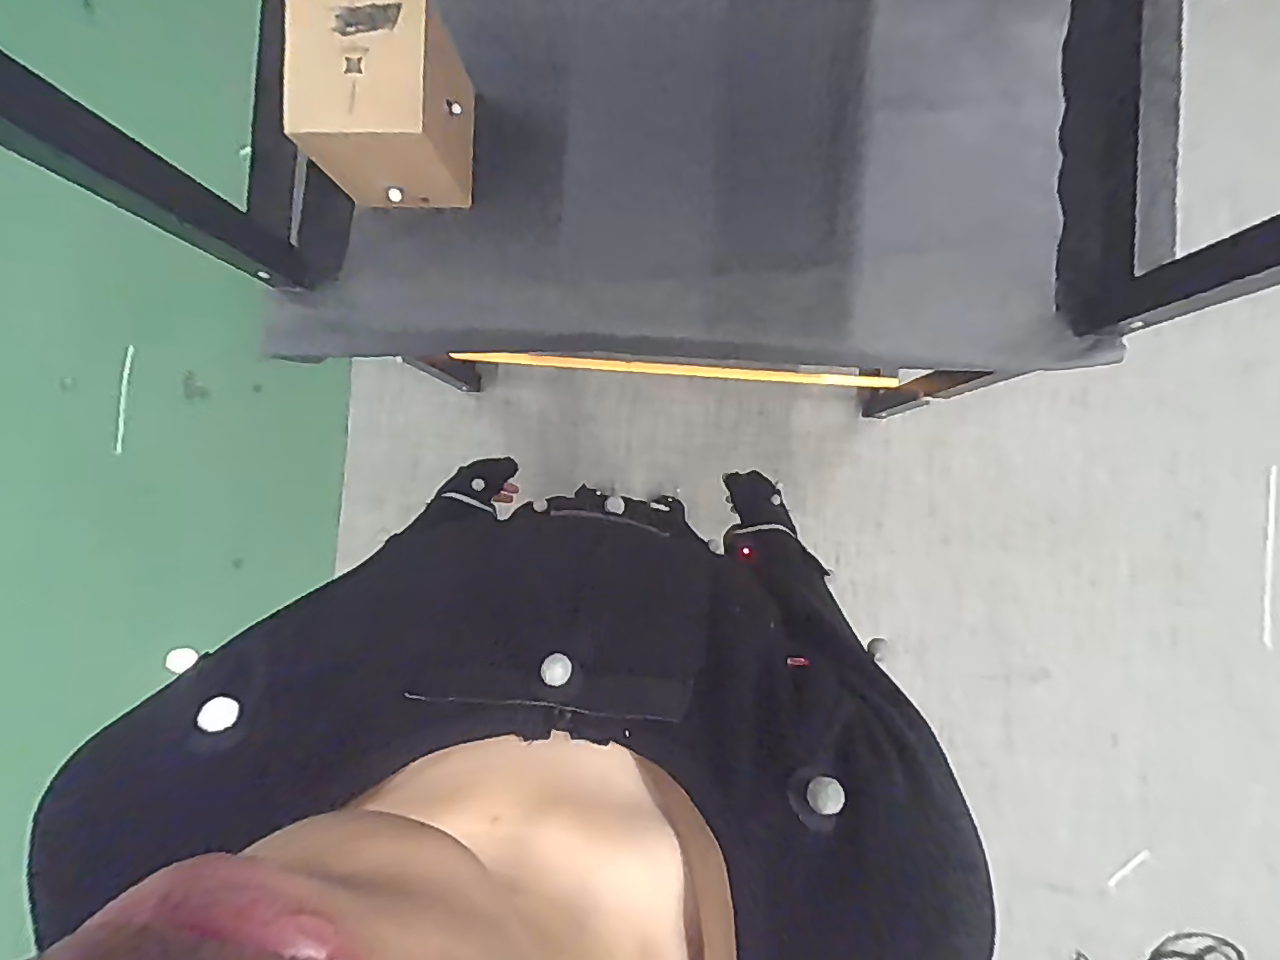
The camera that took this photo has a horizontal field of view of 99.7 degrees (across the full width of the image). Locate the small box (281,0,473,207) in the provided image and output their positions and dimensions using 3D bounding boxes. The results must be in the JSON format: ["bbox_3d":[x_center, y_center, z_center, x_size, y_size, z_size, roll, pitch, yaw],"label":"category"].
[{"bbox_3d":[-0.325,-0.484,0.699,0.168,0.176,0.179,1,89,2],"label":"small box"}]
